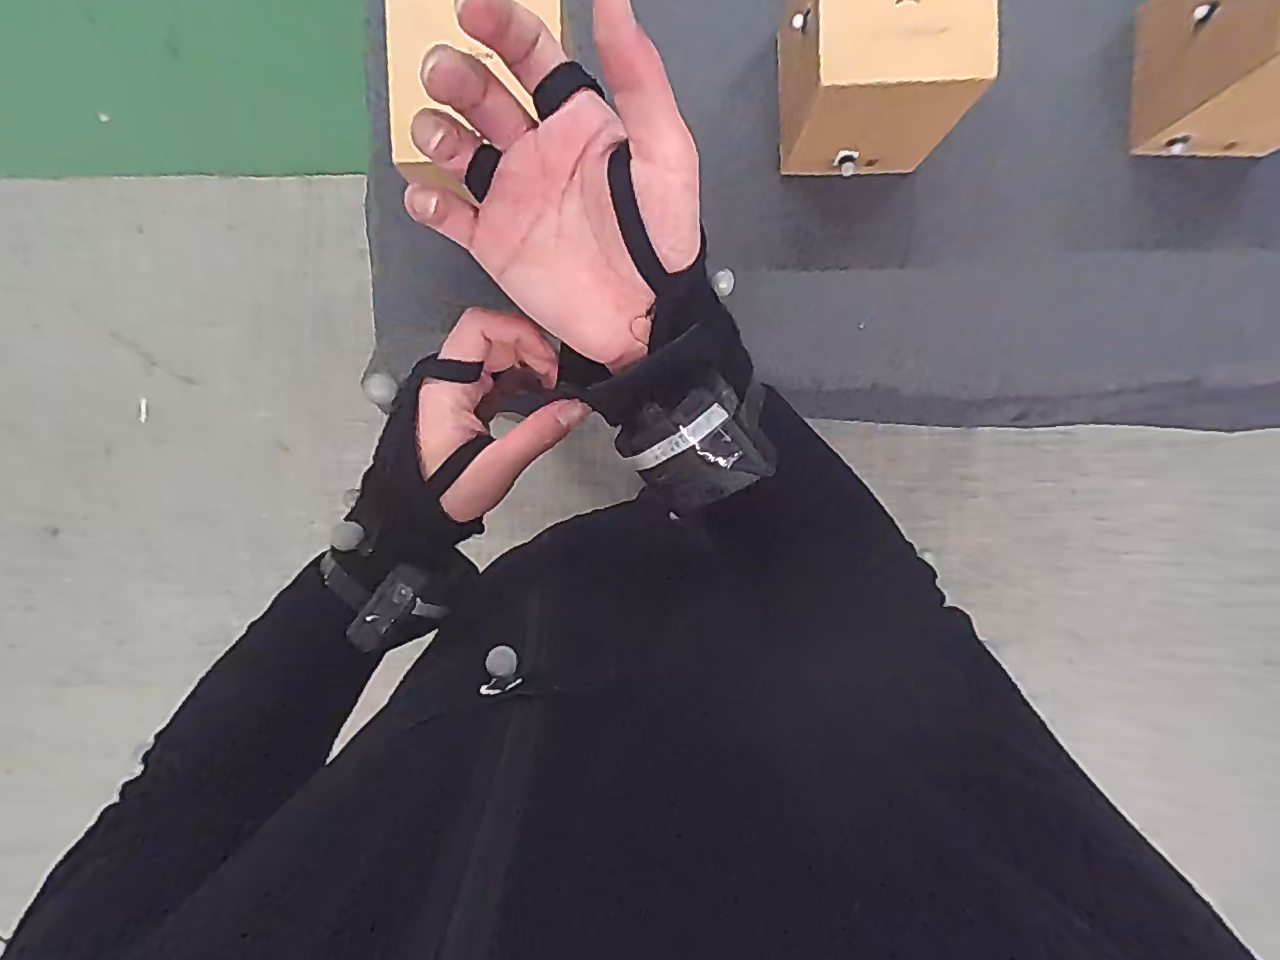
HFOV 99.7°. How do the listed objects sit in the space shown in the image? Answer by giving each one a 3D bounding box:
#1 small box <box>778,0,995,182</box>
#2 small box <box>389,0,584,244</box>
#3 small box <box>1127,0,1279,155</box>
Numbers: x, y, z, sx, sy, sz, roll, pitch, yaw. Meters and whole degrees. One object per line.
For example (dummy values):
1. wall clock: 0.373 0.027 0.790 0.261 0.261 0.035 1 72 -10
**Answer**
1. small box: 0.248 -0.454 0.583 0.168 0.176 0.179 -2 93 2
2. small box: -0.153 -0.381 0.587 0.168 0.176 0.179 -2 90 1
3. small box: 0.669 -0.474 0.573 0.168 0.176 0.179 1 91 1
